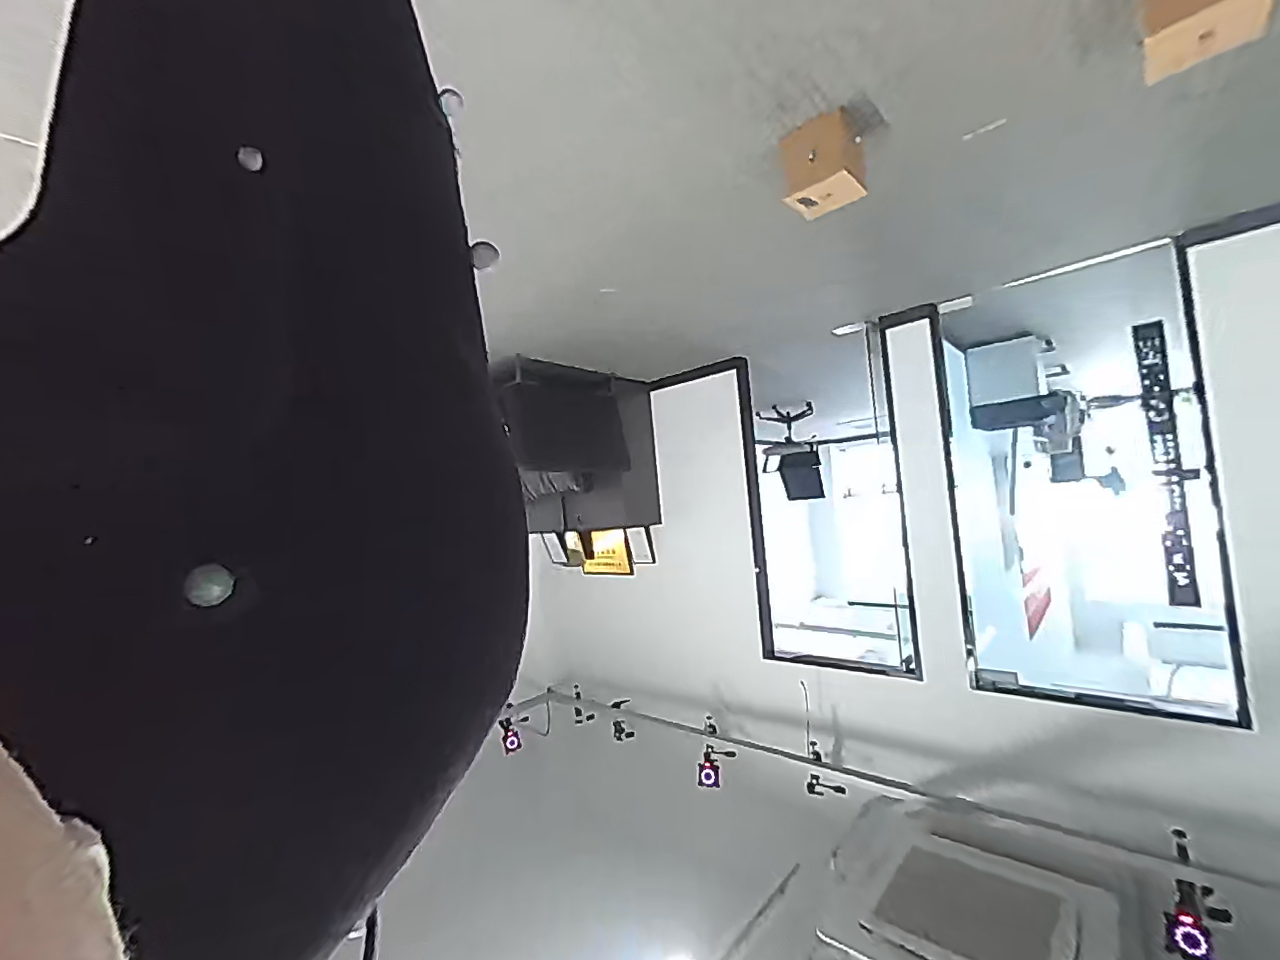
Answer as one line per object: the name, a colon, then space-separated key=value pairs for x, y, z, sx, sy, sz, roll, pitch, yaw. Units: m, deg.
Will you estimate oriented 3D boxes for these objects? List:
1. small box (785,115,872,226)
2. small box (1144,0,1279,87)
small box: x=0.506 y=-0.829 z=1.459 sx=0.179 sy=0.176 sz=0.168 roll=-9 pitch=175 yaw=42
small box: x=1.062 y=-0.902 z=1.009 sx=0.168 sy=0.176 sz=0.179 roll=-7 pitch=176 yaw=43
